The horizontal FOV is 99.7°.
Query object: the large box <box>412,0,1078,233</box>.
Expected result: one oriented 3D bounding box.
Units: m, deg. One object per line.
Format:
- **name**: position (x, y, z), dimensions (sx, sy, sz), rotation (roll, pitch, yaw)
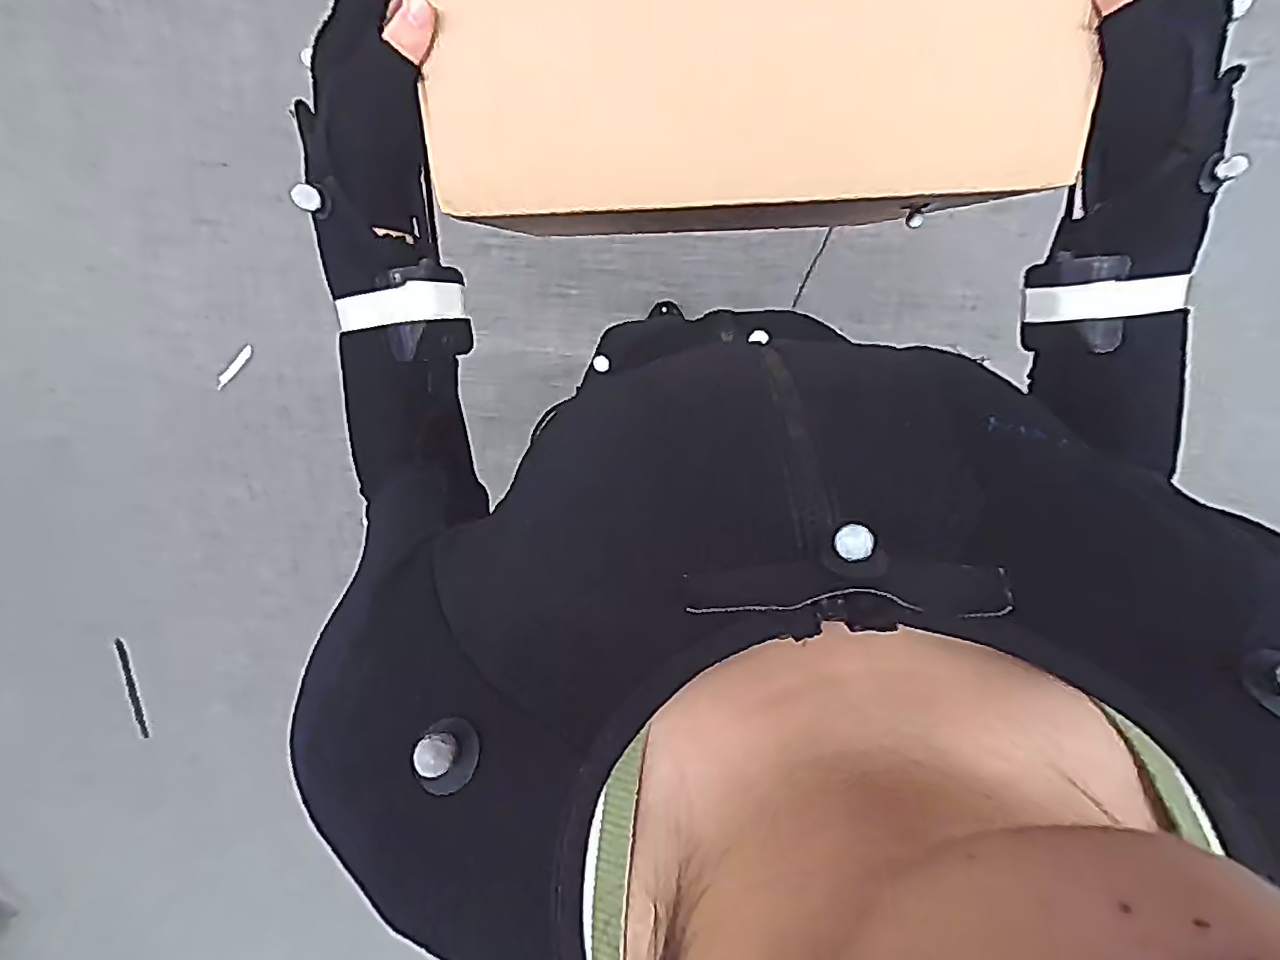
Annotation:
- **large box**: position (0.063, -0.385, 0.442), dimensions (0.408, 0.320, 0.320), rotation (-2, 111, 2)
